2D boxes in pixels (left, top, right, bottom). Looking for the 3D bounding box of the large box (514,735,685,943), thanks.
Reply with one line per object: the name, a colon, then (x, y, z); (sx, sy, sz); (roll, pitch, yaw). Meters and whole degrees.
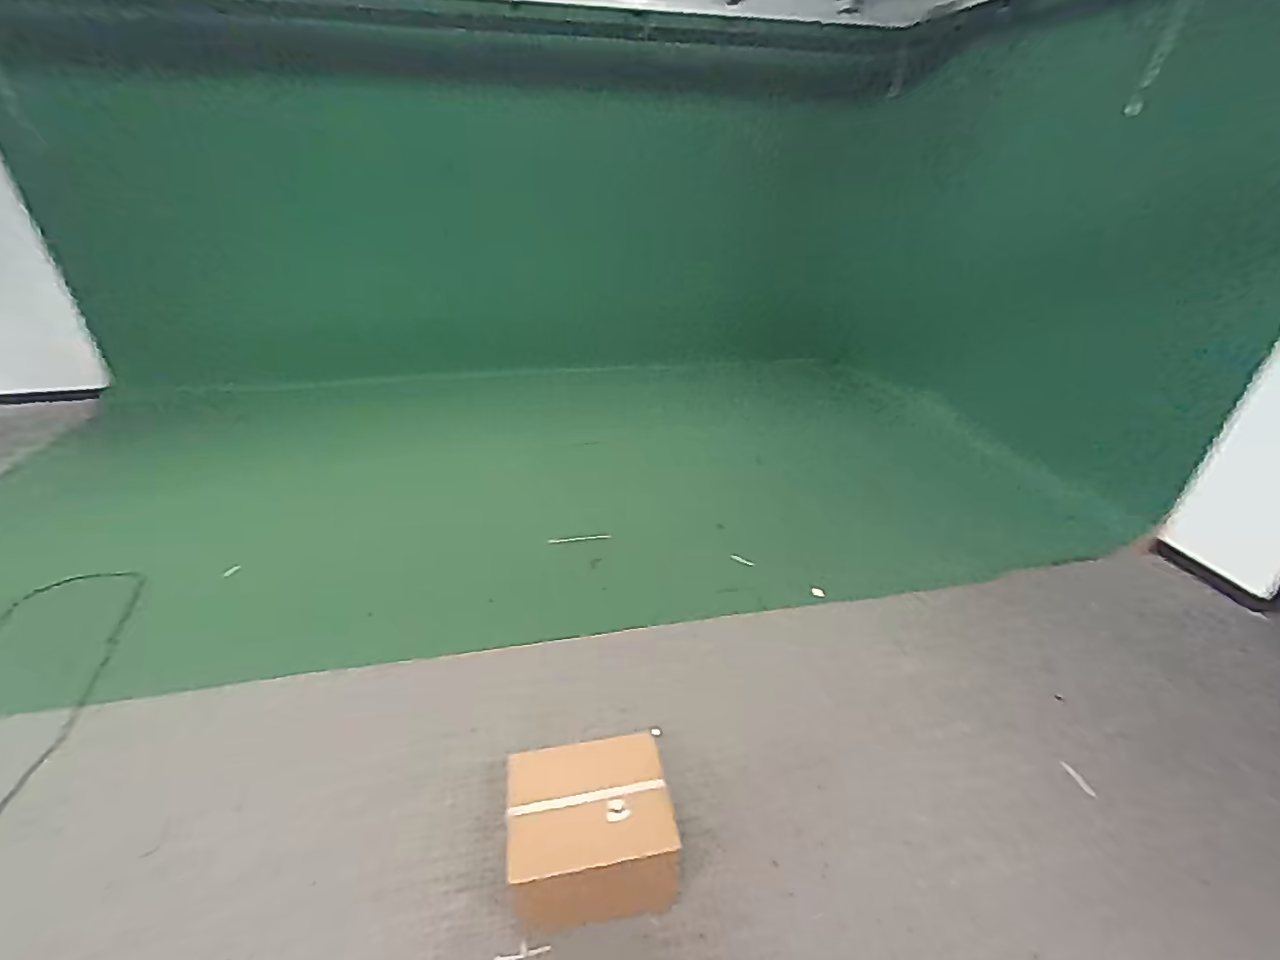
large box: (-0.119, 0.938, 1.435); (0.408, 0.320, 0.320); (-4, 31, -10)
